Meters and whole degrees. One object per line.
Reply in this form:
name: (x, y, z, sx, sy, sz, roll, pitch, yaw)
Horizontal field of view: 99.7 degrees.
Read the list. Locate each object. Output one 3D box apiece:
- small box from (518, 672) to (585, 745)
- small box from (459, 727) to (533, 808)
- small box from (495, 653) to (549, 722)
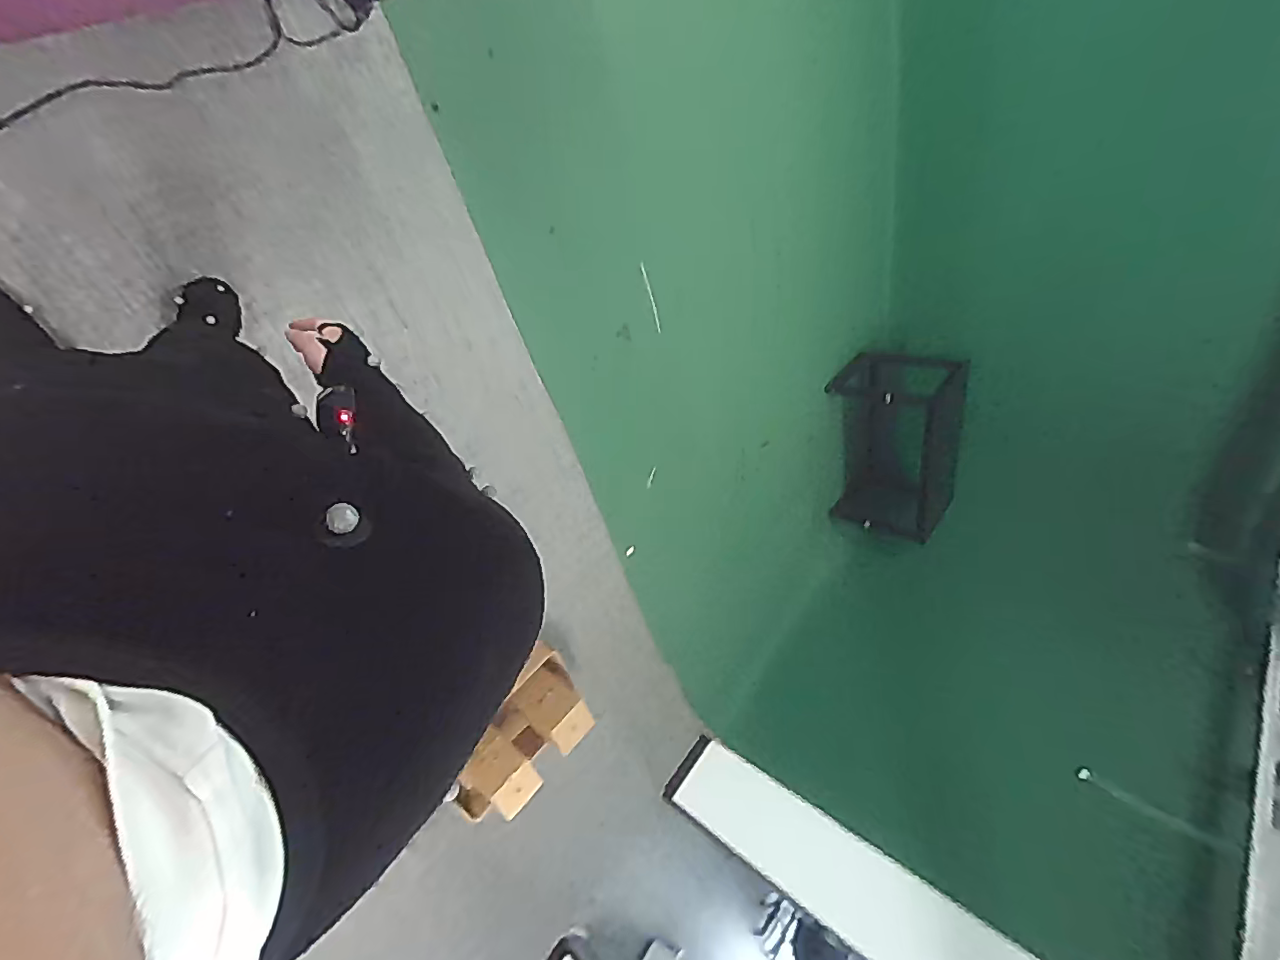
small box: (-0.347, 0.890, 2.122, 0.168, 0.176, 0.179, -41, 133, -31)
small box: (-0.527, 1.048, 1.983, 0.168, 0.176, 0.179, -41, 132, -31)
small box: (-0.464, 0.847, 2.226, 0.168, 0.176, 0.179, -41, 134, -31)
